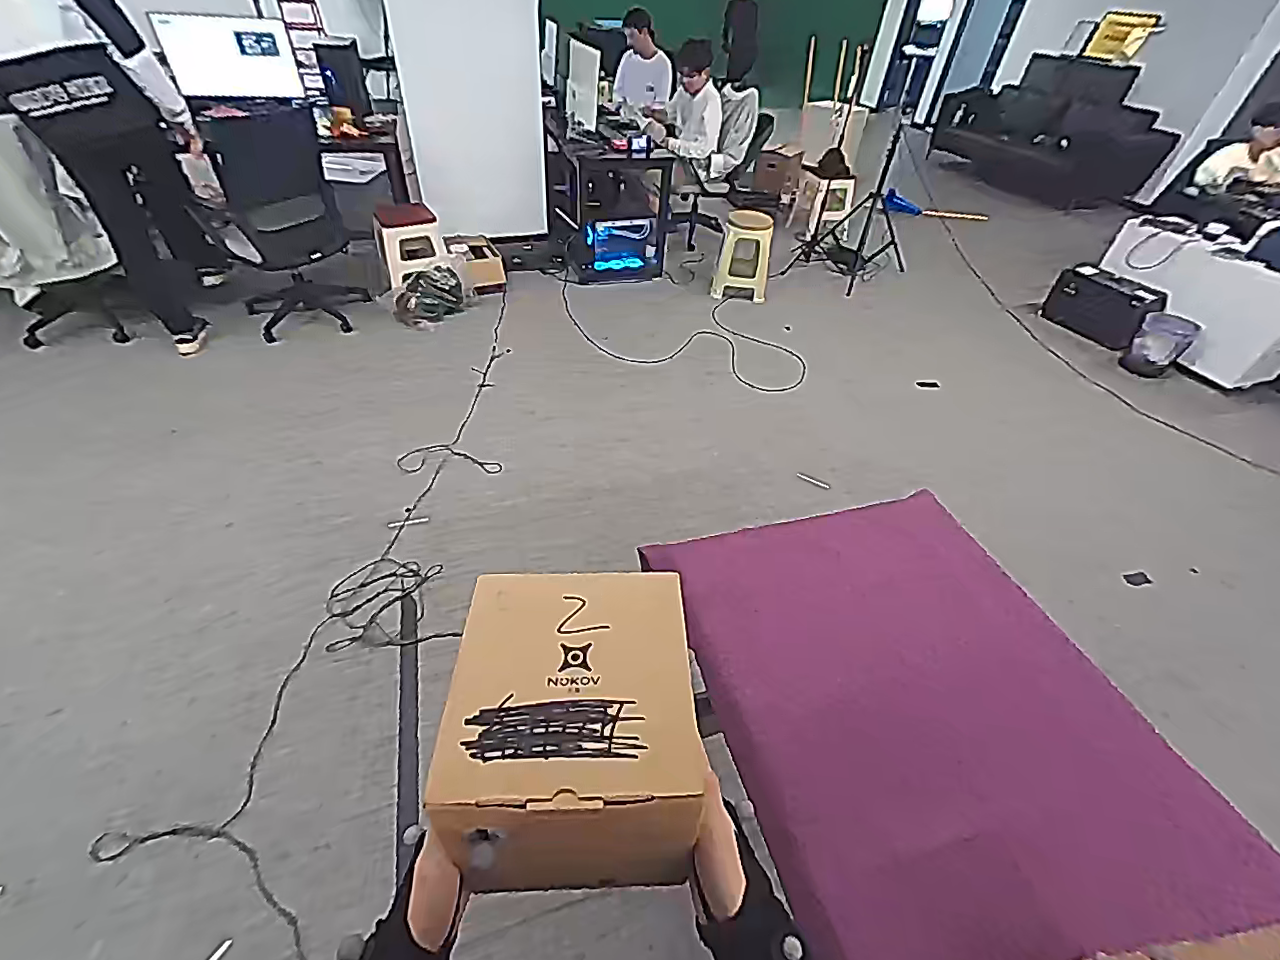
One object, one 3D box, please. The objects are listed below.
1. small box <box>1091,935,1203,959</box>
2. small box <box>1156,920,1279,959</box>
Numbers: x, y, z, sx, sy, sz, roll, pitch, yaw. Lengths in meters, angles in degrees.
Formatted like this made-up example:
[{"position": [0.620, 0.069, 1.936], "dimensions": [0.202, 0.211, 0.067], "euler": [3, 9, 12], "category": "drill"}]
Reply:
[{"position": [0.467, 0.557, 0.490], "dimensions": [0.179, 0.176, 0.168], "euler": [-9, 45, -15], "category": "small box"}, {"position": [0.483, 0.437, 0.379], "dimensions": [0.179, 0.176, 0.168], "euler": [-9, 44, -14], "category": "small box"}]
